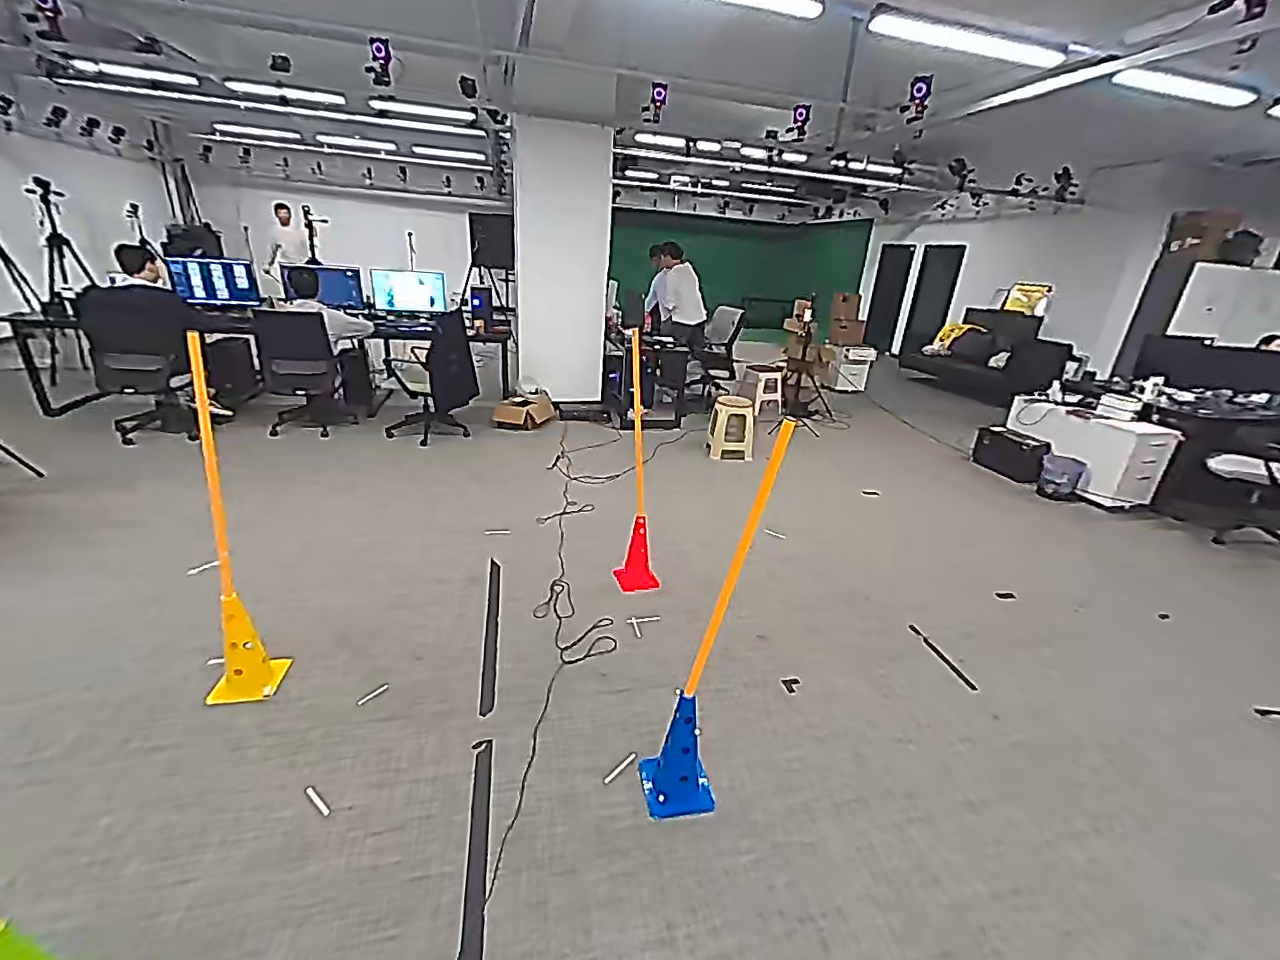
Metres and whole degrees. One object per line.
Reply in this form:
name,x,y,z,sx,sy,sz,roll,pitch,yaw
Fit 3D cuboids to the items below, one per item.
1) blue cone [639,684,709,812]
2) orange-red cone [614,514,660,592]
blue cone,0.114,0.763,1.577,0.193,0.380,0.192,0,22,-10
orange-red cone,-0.007,0.329,2.593,0.199,0.360,0.198,-4,23,-17
